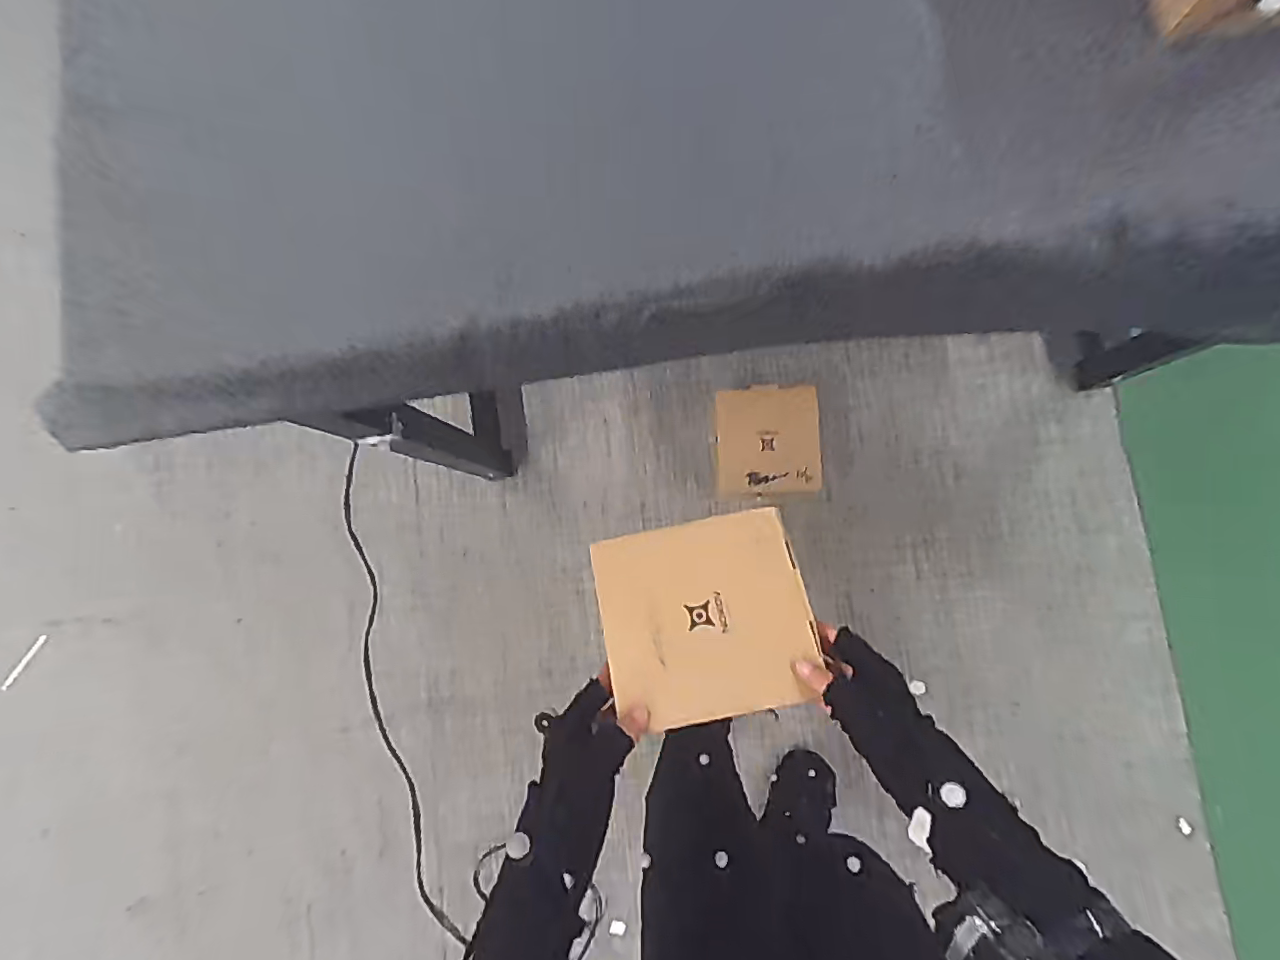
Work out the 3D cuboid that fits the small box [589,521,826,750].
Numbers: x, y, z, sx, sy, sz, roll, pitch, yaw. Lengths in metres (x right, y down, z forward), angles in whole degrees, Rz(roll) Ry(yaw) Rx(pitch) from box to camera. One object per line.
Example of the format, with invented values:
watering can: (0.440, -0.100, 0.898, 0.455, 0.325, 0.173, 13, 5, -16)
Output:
small box: (0.060, 0.157, 0.541, 0.179, 0.176, 0.168, -14, 67, 2)
